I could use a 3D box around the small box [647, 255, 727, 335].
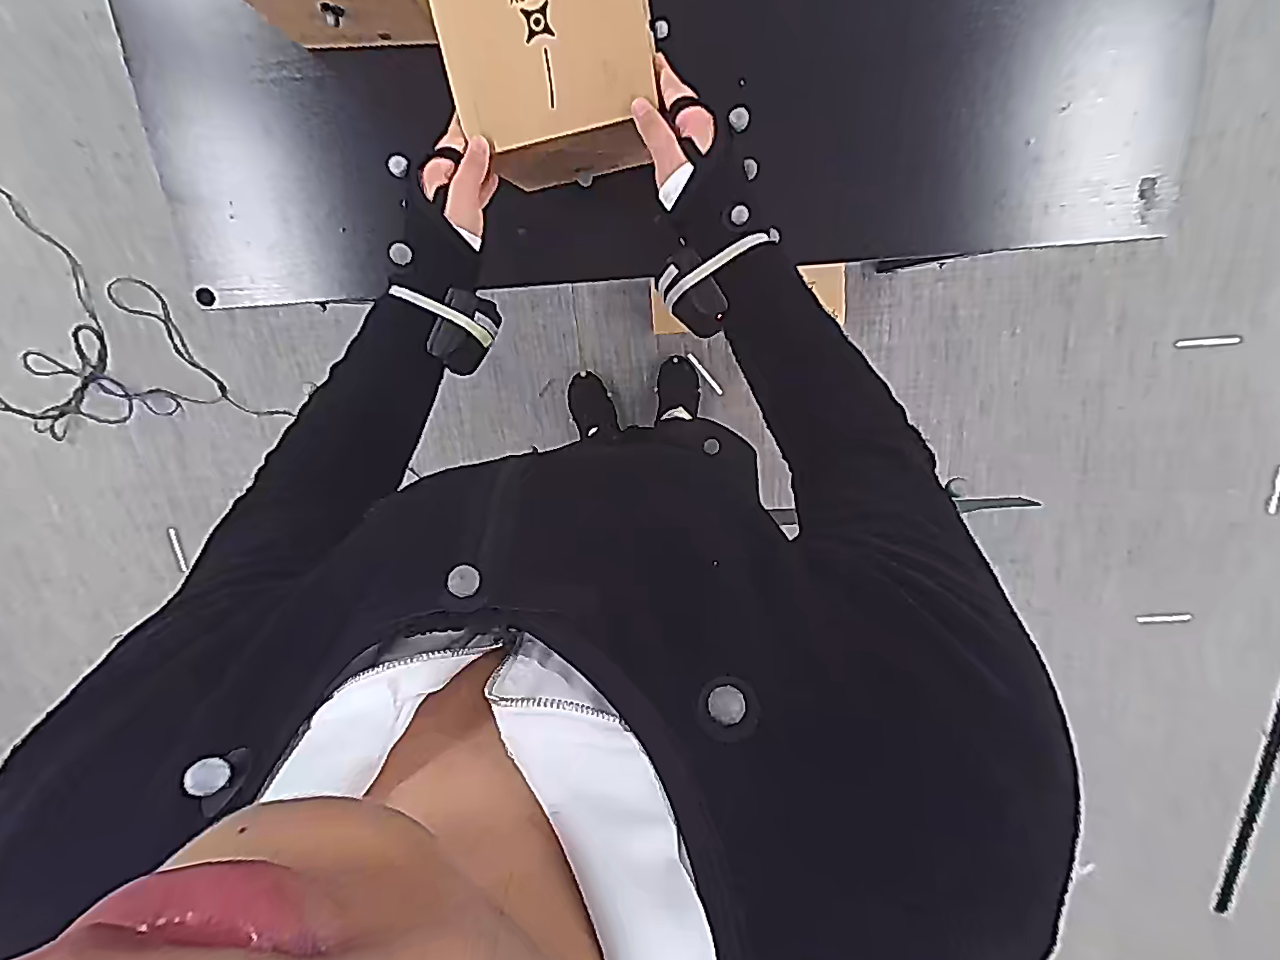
[{"bbox_3d":[0.109,-0.440,1.295,0.179,0.176,0.168,-4,106,3],"label":"small box"}]

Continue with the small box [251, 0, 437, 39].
[{"bbox_3d":[-0.305,-0.551,0.509,0.168,0.176,0.179,-1,106,1],"label":"small box"}]

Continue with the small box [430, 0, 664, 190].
[{"bbox_3d":[-0.073,-0.388,0.492,0.168,0.176,0.179,-8,108,9],"label":"small box"}]
